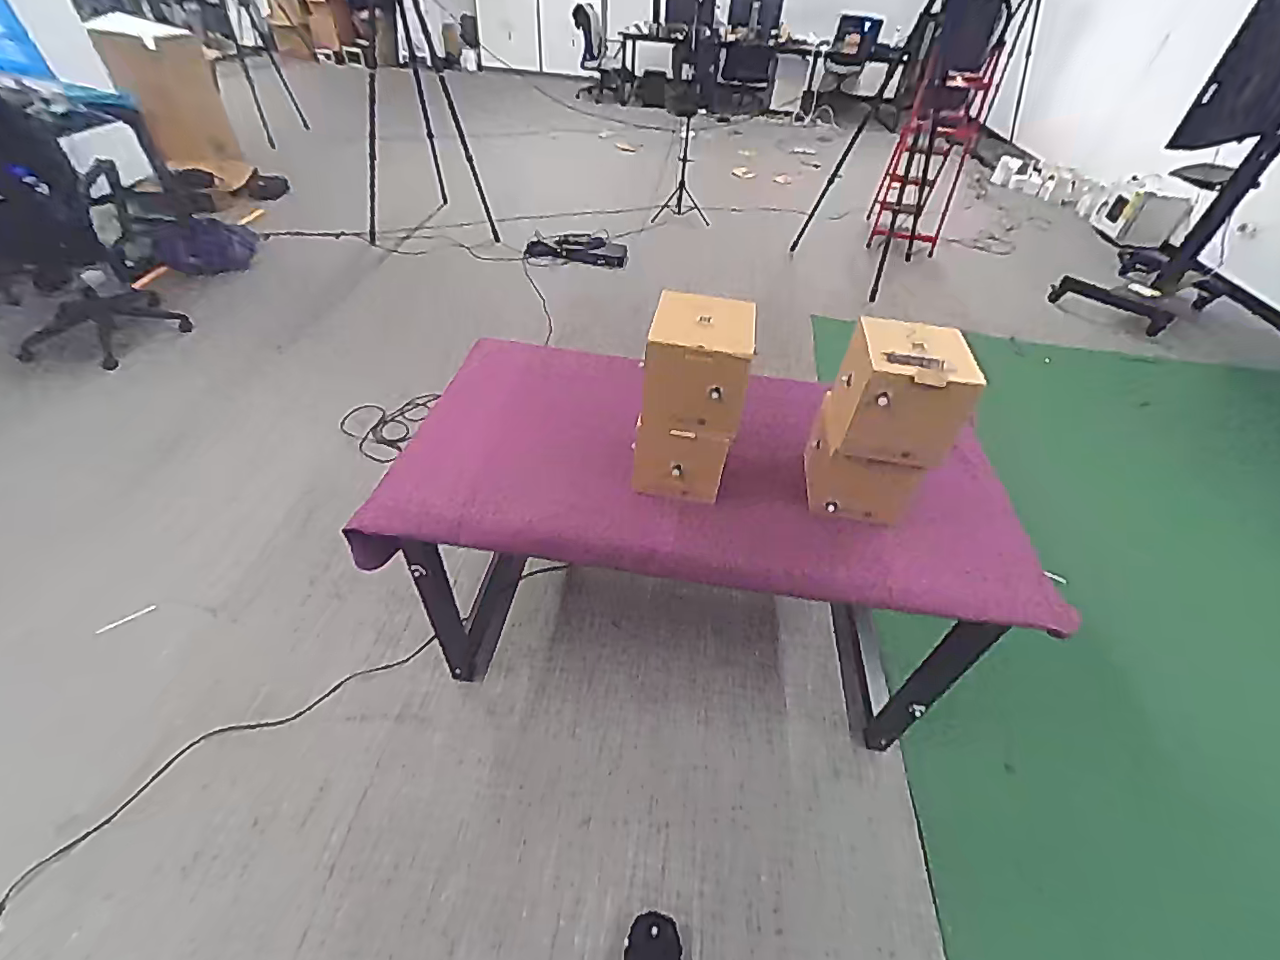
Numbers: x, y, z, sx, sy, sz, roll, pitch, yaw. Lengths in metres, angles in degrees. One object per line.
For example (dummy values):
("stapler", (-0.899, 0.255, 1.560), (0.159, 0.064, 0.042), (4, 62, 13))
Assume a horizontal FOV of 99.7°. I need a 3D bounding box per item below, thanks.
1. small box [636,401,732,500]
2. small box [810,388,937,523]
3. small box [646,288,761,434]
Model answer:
("small box", (0.089, -0.085, 1.036), (0.168, 0.176, 0.179), (11, 46, 5))
("small box", (0.428, -0.044, 1.022), (0.168, 0.176, 0.179), (12, 46, 5))
("small box", (0.106, -0.201, 0.921), (0.168, 0.176, 0.179), (10, 45, 5))
